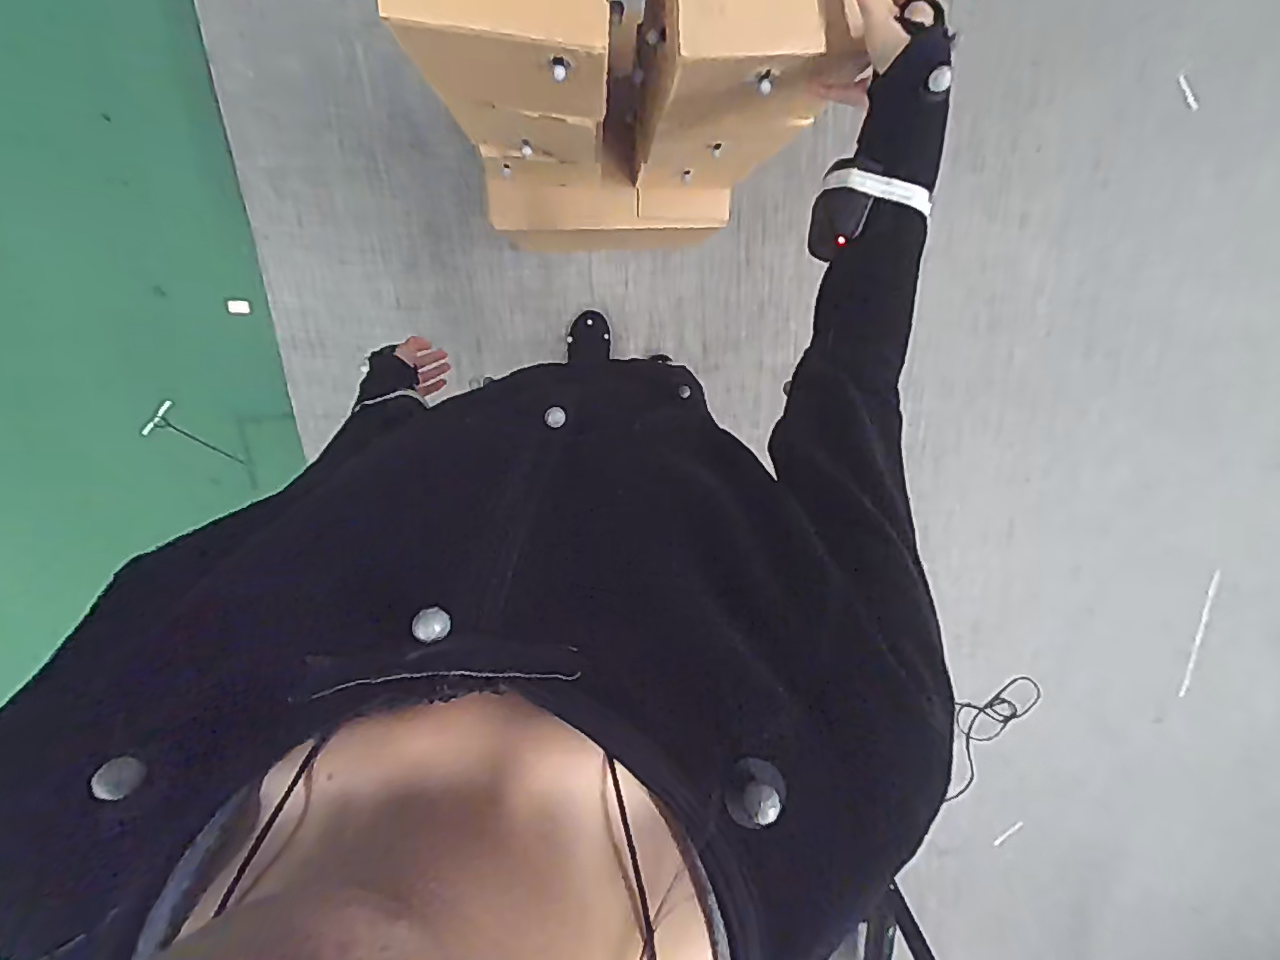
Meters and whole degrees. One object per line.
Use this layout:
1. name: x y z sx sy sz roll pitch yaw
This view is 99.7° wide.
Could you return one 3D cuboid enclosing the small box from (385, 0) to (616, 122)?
1. small box: -0.109 -0.443 0.479 0.179 0.176 0.168 3 107 -6
